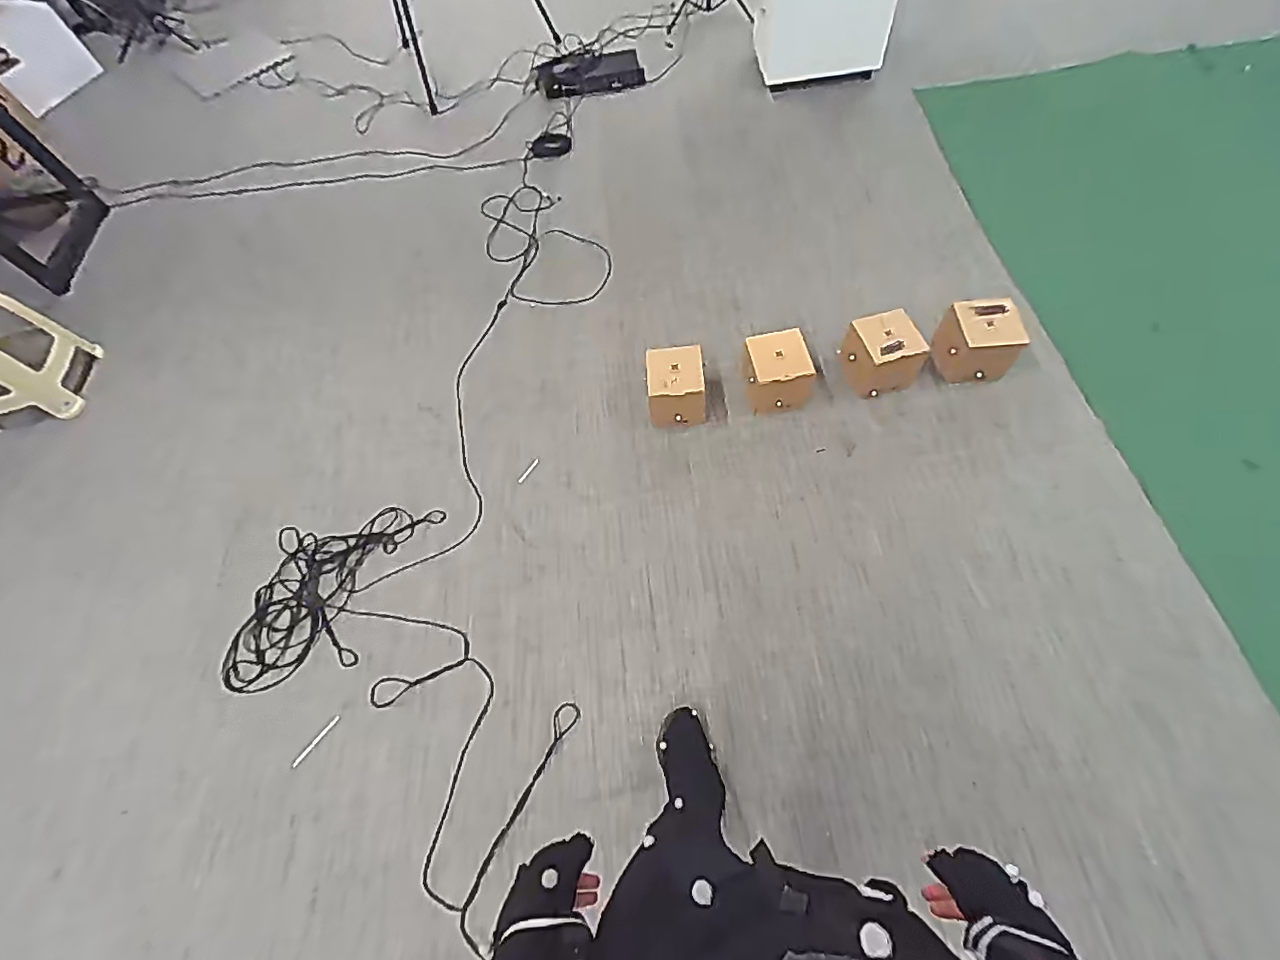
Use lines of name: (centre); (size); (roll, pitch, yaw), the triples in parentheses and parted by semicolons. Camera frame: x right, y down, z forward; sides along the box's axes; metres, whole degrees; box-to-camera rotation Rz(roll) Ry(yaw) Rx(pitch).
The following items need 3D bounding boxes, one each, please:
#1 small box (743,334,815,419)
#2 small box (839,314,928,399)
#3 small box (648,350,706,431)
small box: (0.415, -0.311, 1.646); (0.168, 0.176, 0.179); (-11, 62, 1)
small box: (0.728, -0.364, 1.637); (0.168, 0.176, 0.179); (-14, 60, -2)
small box: (0.113, -0.271, 1.660); (0.168, 0.176, 0.179); (-5, 61, 5)
